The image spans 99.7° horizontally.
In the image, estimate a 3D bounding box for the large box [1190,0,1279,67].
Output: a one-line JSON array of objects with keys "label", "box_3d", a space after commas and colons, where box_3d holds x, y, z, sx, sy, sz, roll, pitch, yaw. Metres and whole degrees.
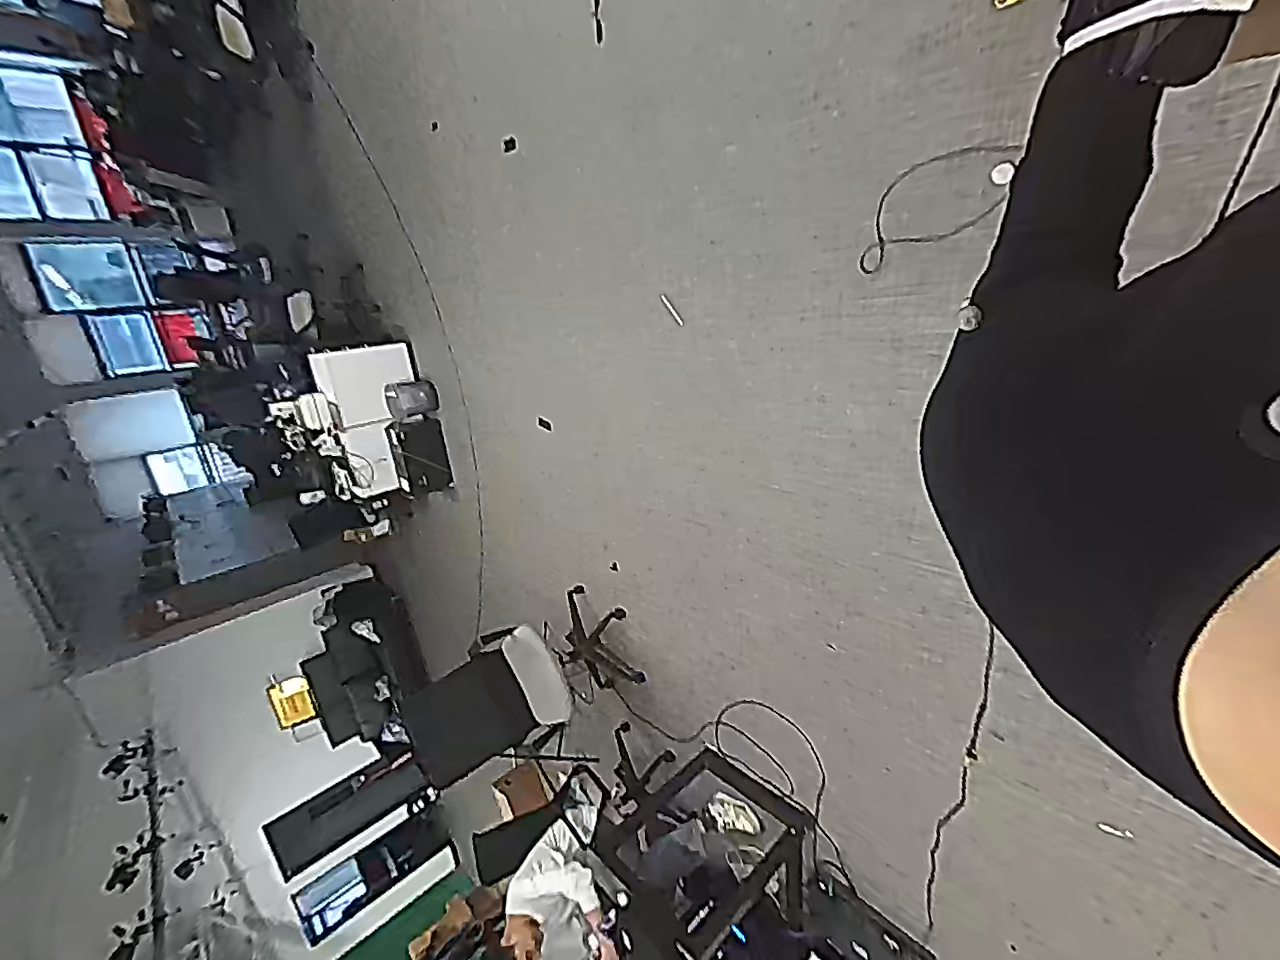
[{"label": "large box", "box_3d": [0.570, -0.446, 0.241, 0.408, 0.320, 0.320, 18, 123, 43]}]
